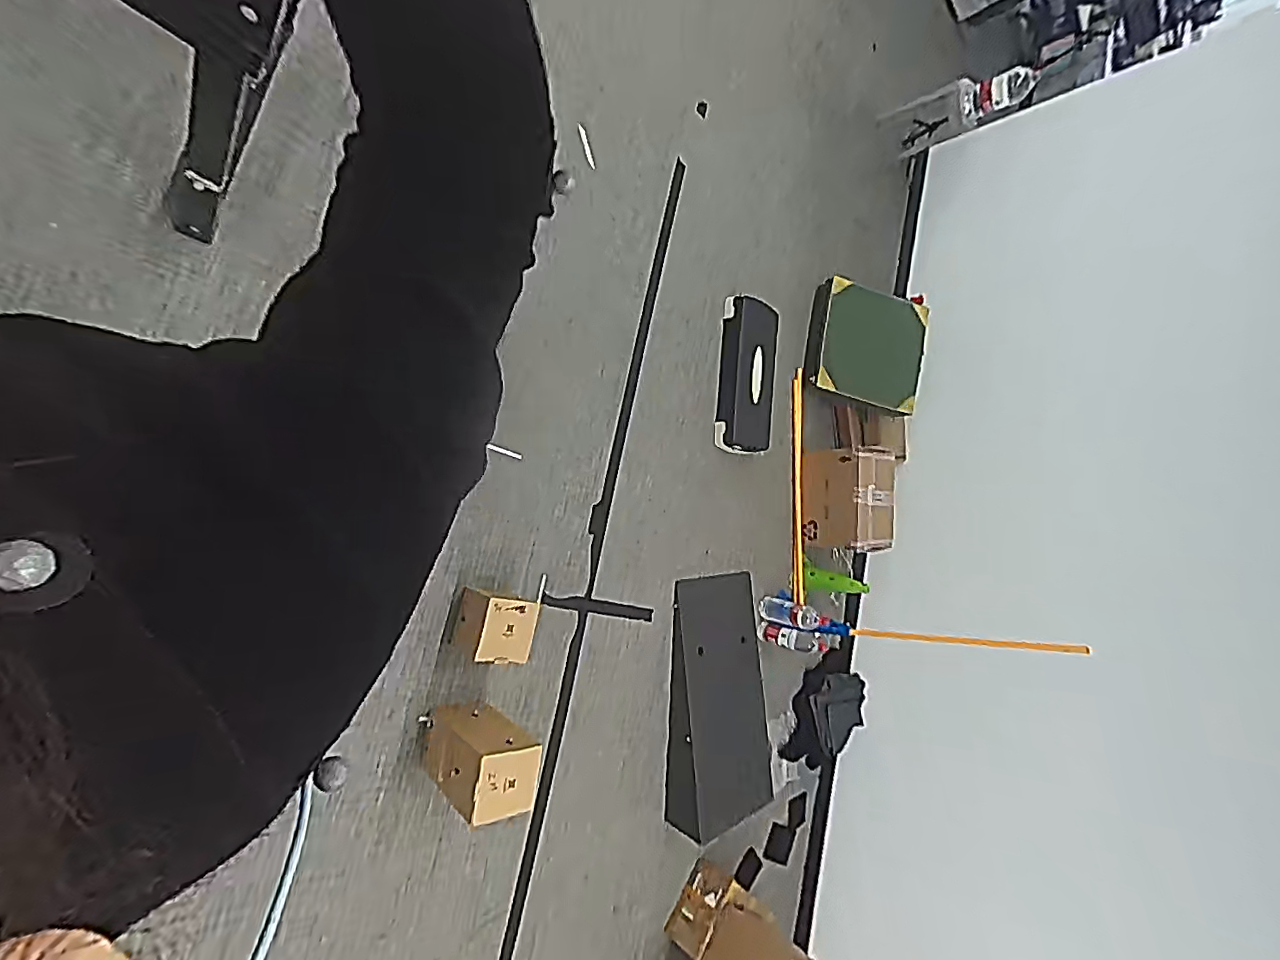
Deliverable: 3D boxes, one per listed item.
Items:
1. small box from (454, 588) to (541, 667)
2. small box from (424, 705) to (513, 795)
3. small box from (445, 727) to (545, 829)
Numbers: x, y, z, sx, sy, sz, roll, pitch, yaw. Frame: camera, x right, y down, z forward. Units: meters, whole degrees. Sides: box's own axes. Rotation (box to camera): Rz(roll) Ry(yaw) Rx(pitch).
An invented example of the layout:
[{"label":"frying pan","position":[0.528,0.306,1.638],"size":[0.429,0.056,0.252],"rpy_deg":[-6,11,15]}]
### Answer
[{"label":"small box","position":[-0.418,0.425,1.566],"size":[0.168,0.176,0.179],"rpy_deg":[20,79,-41]},{"label":"small box","position":[-0.486,0.751,1.522],"size":[0.179,0.176,0.168],"rpy_deg":[11,85,-42]},{"label":"small box","position":[-0.376,0.758,1.400],"size":[0.179,0.176,0.168],"rpy_deg":[13,83,-42]}]
